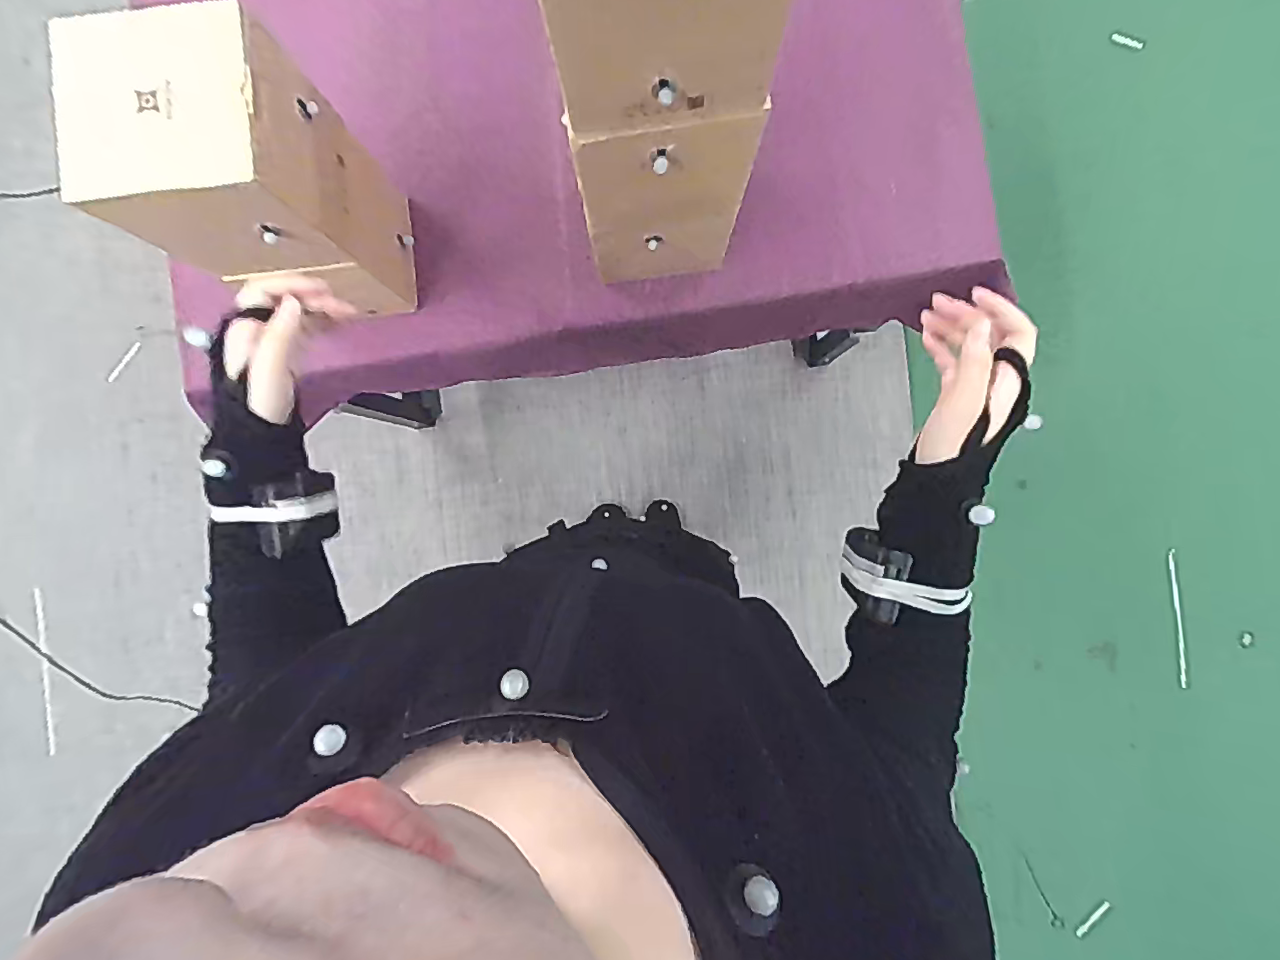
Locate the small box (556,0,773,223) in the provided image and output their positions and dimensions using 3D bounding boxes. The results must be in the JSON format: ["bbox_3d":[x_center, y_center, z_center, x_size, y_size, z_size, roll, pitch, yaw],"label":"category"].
[{"bbox_3d":[0.021,-0.383,0.540,0.179,0.176,0.168,-7,90,3],"label":"small box"}]

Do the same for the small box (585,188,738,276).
[{"bbox_3d":[0.022,-0.382,0.703,0.179,0.176,0.168,-6,90,1],"label":"small box"}]

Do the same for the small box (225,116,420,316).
[{"bbox_3d":[-0.411,-0.335,0.716,0.168,0.176,0.179,-6,89,2],"label":"small box"}]

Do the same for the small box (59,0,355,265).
[{"bbox_3d":[-0.415,-0.337,0.552,0.179,0.176,0.168,-5,90,2],"label":"small box"}]
